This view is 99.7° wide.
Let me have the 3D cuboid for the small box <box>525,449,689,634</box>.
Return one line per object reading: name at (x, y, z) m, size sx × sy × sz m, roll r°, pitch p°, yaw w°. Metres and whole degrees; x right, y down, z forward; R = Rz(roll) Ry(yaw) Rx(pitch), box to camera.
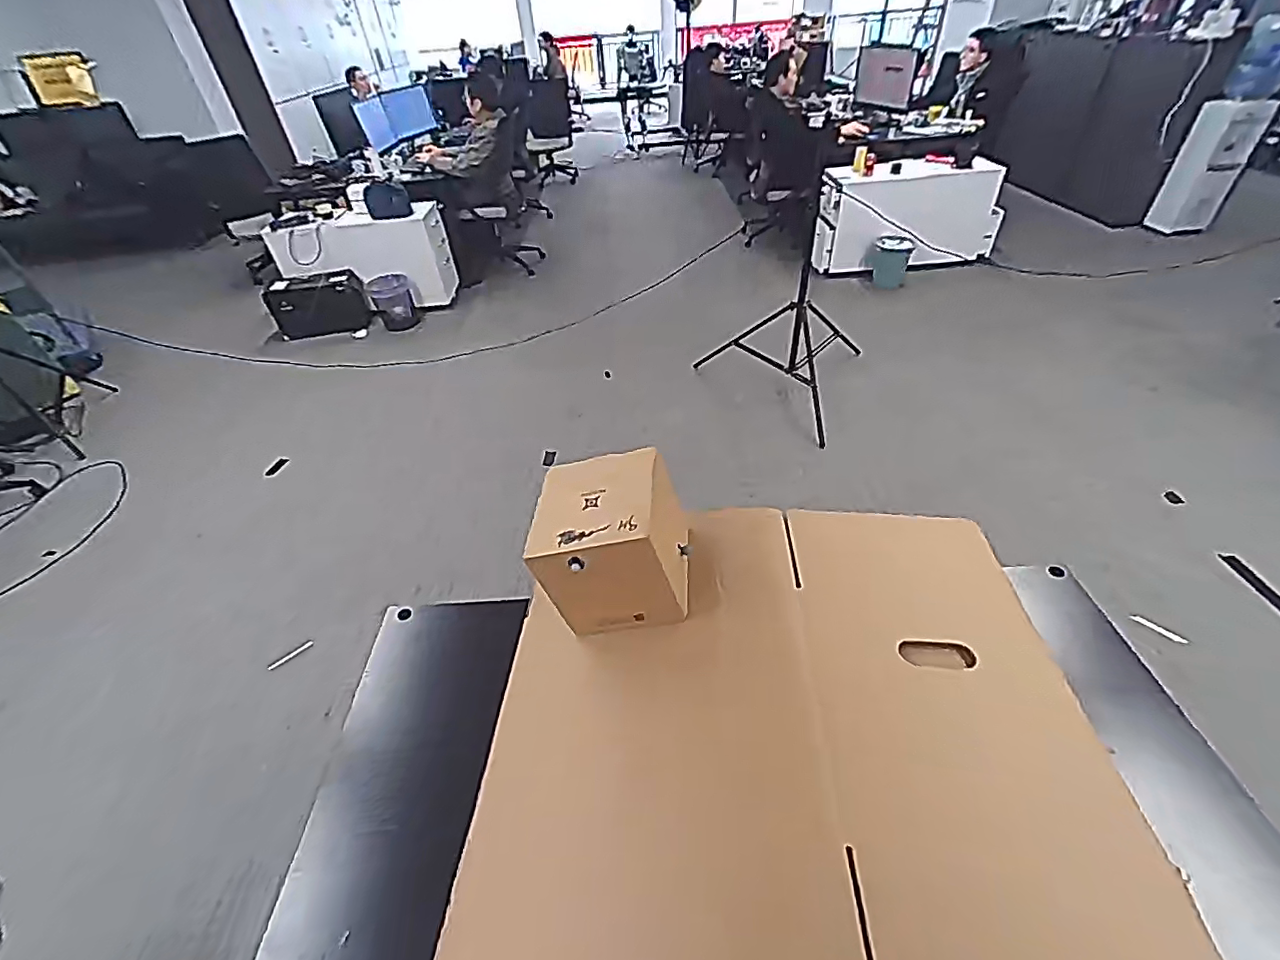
small box at (-0.033, 0.087, 0.748) m, size 0.168 × 0.176 × 0.179 m, roll -12°, pitch 38°, yaw 15°
